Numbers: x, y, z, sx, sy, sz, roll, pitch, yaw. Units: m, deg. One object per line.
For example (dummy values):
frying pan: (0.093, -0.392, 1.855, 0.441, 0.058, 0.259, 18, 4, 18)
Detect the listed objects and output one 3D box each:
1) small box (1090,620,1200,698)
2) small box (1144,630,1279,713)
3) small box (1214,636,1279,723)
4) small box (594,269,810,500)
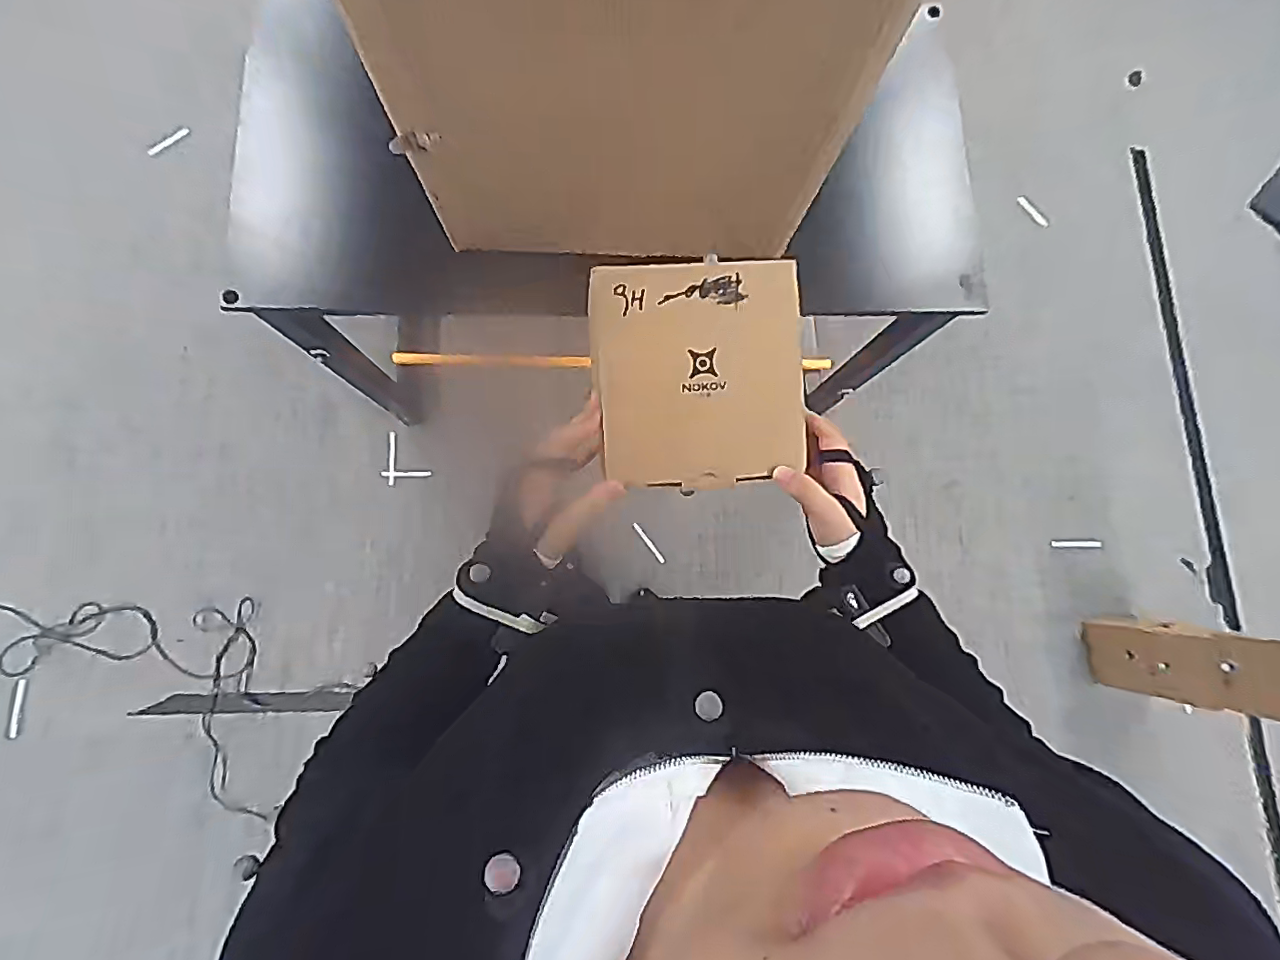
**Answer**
small box: (1.375, 0.476, 1.467, 0.168, 0.176, 0.179, -4, 82, -4)
small box: (1.386, 0.455, 1.304, 0.179, 0.176, 0.168, 0, 81, -3)
small box: (1.389, 0.428, 1.143, 0.179, 0.176, 0.168, 5, 80, -2)
small box: (0.045, -0.080, 0.505, 0.168, 0.176, 0.179, -4, 93, -6)
